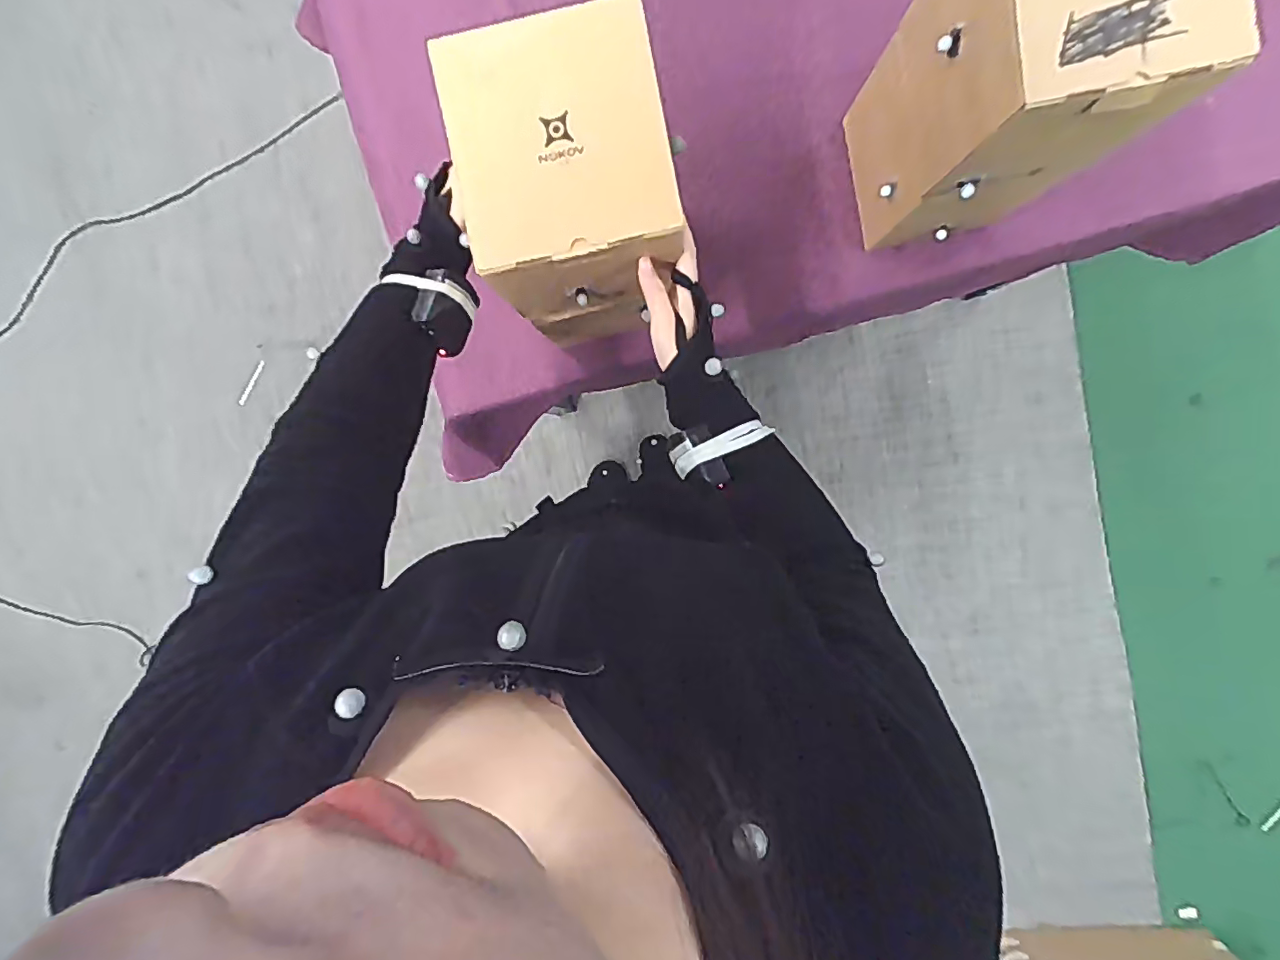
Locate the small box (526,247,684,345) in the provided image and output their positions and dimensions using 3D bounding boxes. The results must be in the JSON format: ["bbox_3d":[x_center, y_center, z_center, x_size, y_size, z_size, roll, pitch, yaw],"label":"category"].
[{"bbox_3d":[-0.050,-0.274,0.661,0.179,0.176,0.168,-13,94,4],"label":"small box"}]

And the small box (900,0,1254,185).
[{"bbox_3d":[0.346,-0.379,0.463,0.168,0.176,0.179,-10,94,4],"label":"small box"}]

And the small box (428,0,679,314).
[{"bbox_3d":[-0.064,-0.269,0.491,0.168,0.176,0.179,-11,95,3],"label":"small box"}]
